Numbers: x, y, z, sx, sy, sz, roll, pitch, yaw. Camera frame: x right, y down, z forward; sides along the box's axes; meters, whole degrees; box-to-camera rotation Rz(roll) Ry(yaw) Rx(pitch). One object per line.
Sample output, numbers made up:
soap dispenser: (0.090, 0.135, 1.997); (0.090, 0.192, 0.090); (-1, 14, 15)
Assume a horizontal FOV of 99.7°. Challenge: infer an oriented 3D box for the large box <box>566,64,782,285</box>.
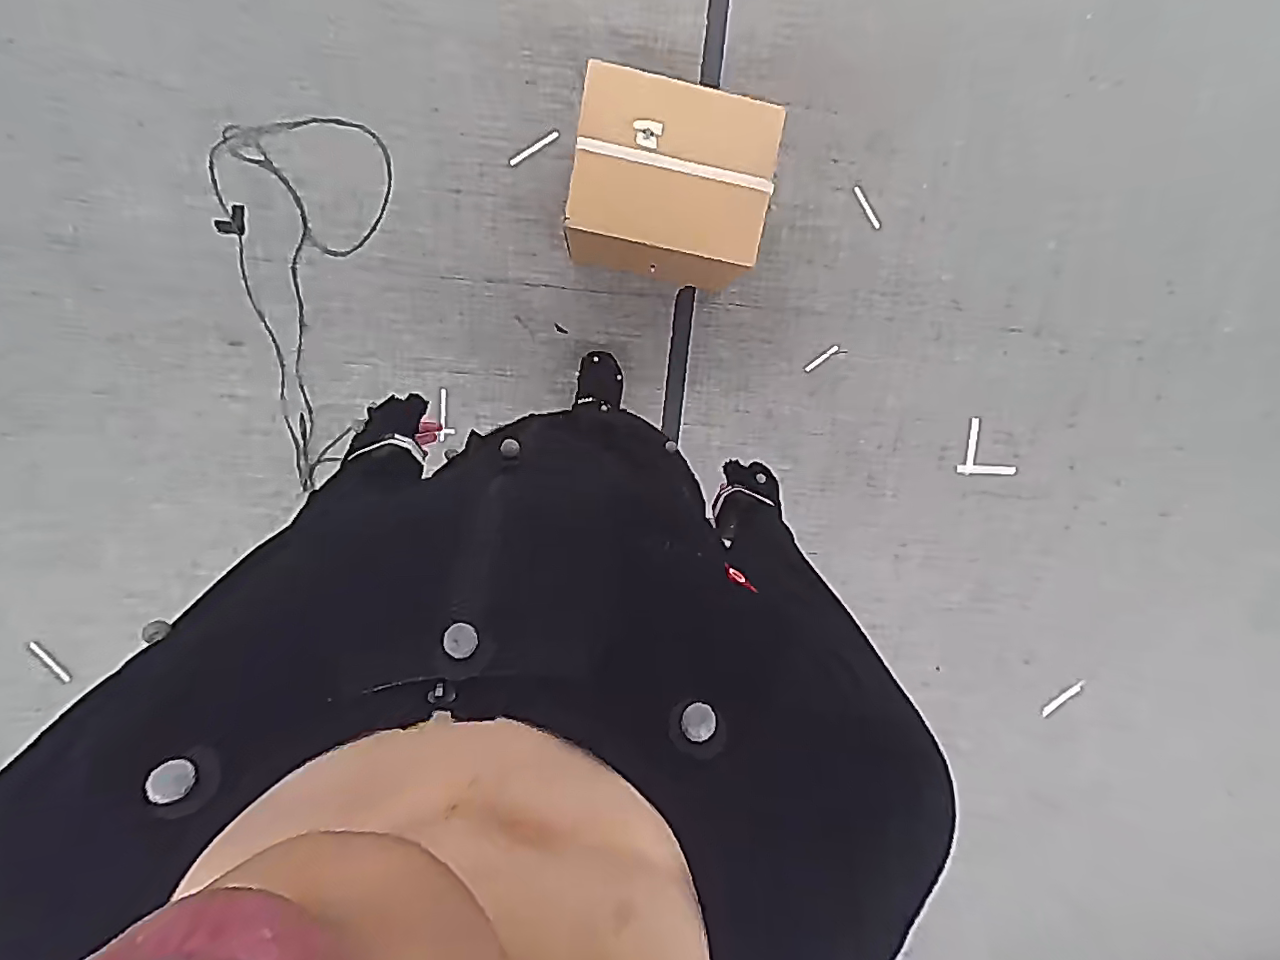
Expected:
large box: (0.061, -0.659, 1.236); (0.408, 0.320, 0.320); (10, 99, -5)
